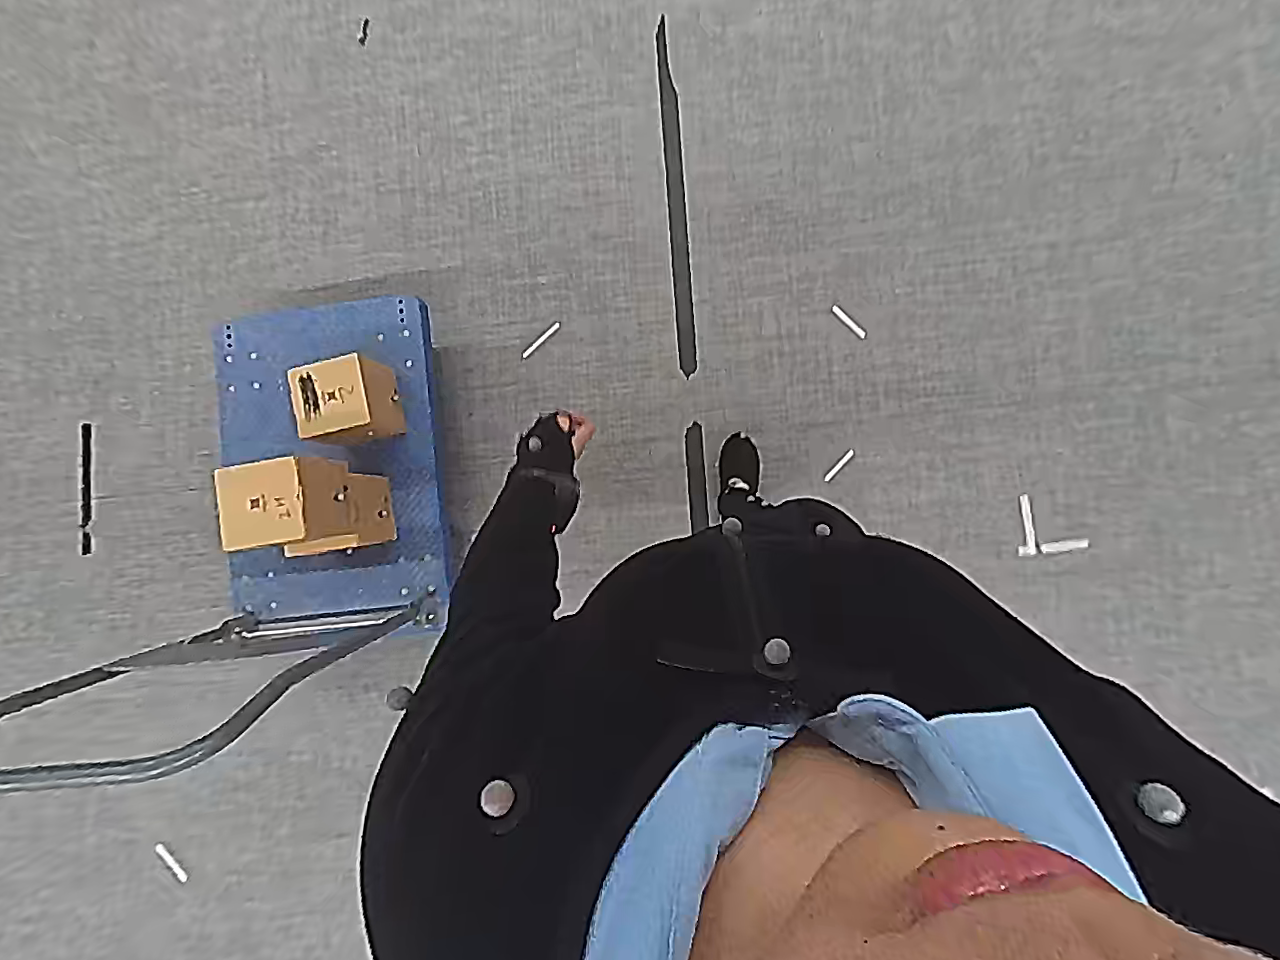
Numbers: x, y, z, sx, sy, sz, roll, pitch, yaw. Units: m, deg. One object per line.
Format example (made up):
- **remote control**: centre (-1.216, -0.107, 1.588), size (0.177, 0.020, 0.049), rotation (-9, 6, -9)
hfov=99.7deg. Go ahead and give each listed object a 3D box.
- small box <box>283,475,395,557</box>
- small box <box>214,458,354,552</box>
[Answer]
- **small box**: centre (-0.720, 0.088, 1.293), size (0.179, 0.176, 0.168), rotation (-10, 86, 3)
- **small box**: centre (-0.735, 0.054, 1.131), size (0.179, 0.176, 0.168), rotation (-9, 87, 3)
